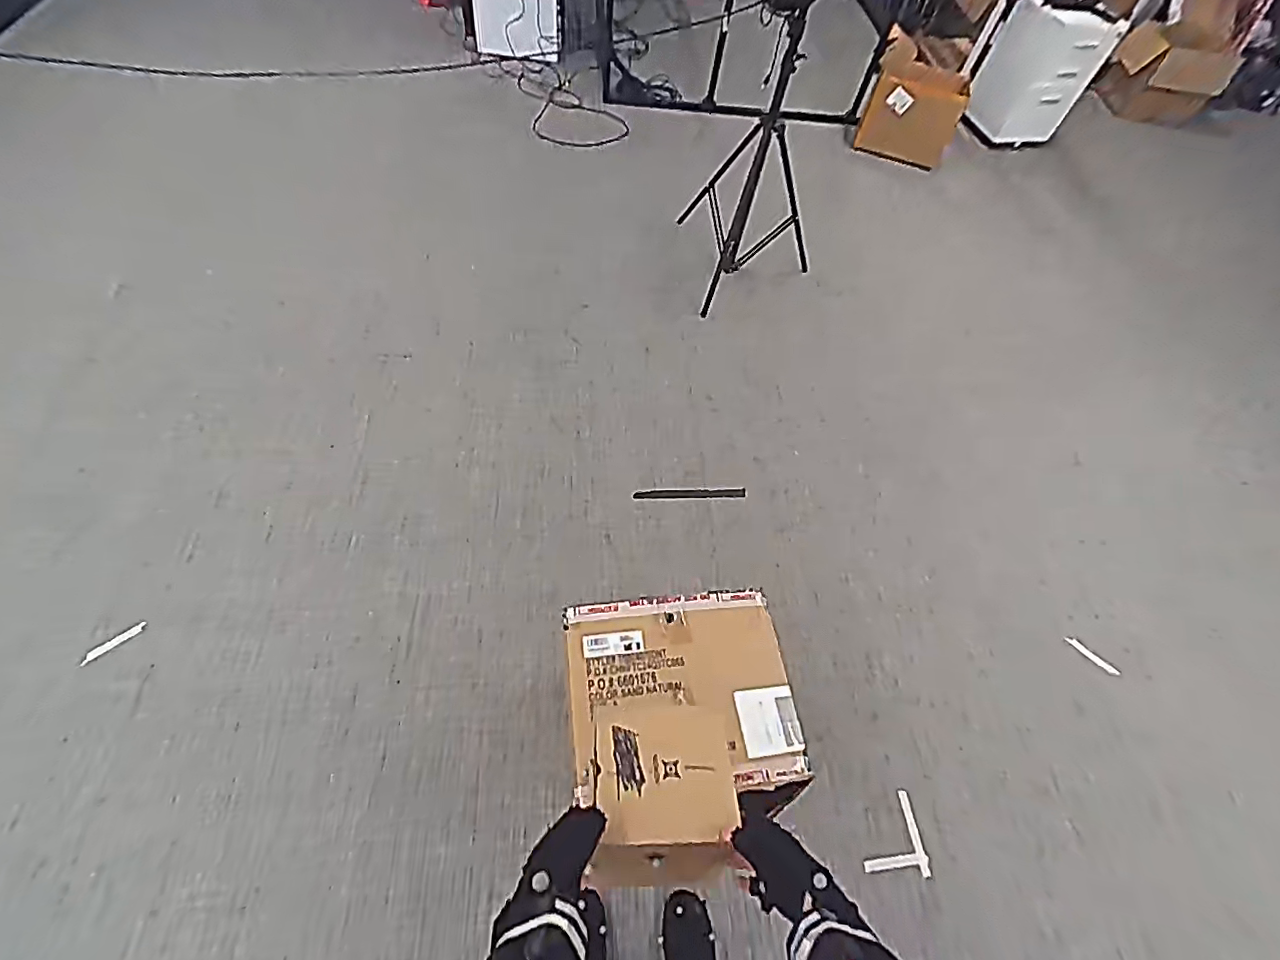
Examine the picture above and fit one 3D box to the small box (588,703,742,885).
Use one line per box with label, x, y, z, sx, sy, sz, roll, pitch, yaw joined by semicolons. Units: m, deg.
small box;0.021;0.419;0.722;0.179;0.176;0.168;3;39;-7
